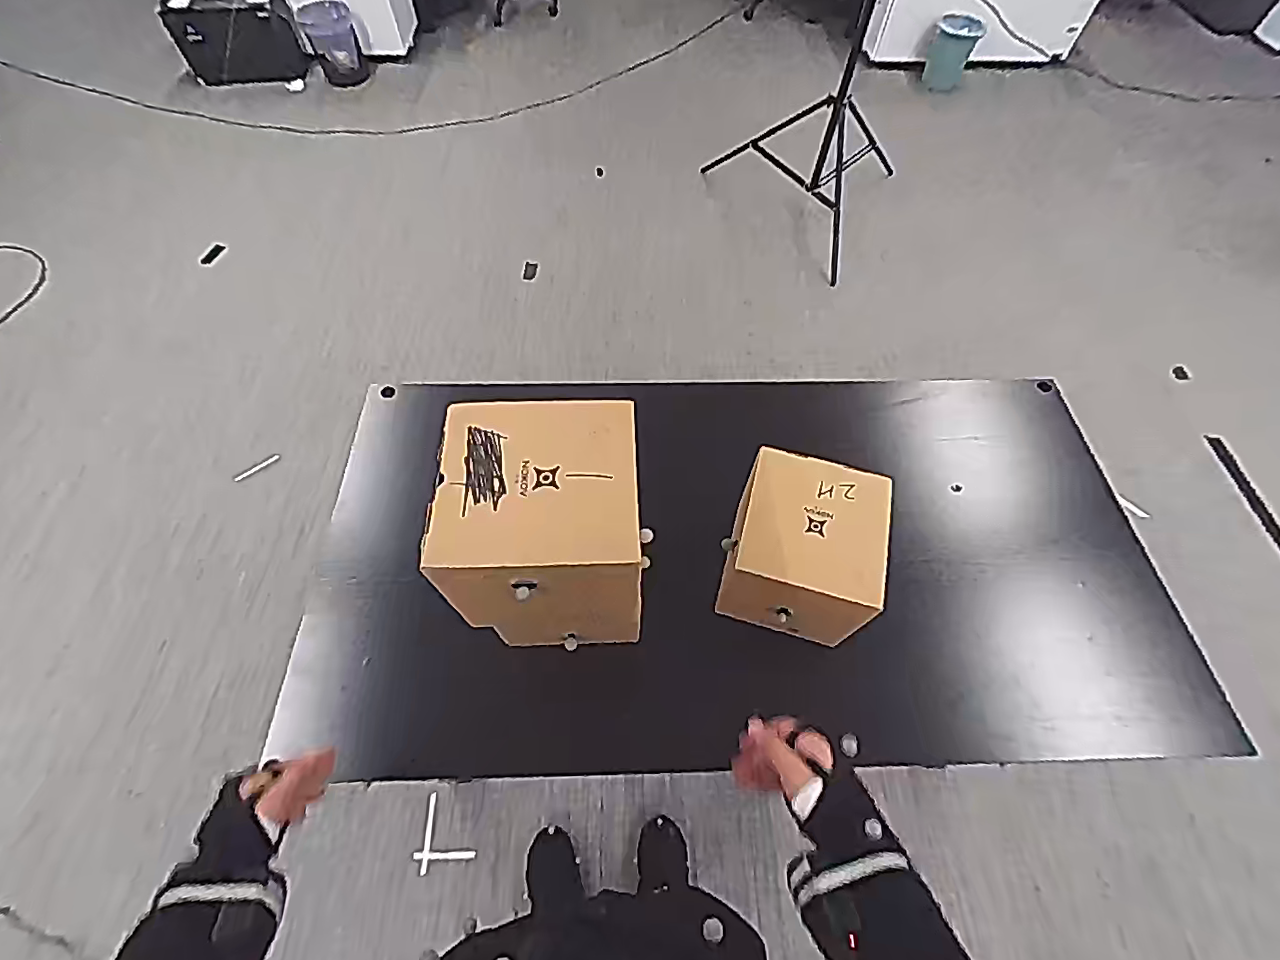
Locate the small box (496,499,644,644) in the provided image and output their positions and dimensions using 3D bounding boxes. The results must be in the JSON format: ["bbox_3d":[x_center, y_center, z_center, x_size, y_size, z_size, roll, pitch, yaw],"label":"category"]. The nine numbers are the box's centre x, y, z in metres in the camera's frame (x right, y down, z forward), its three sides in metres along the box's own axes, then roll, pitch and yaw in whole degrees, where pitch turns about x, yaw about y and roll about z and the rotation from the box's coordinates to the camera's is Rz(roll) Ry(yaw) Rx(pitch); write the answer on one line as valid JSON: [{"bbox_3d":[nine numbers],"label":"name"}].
[{"bbox_3d":[-0.089,0.110,0.699,0.179,0.176,0.168,-1,59,-3],"label":"small box"}]

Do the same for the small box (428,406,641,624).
[{"bbox_3d":[-0.089,0.042,0.547,0.179,0.176,0.168,-1,60,-2],"label":"small box"}]

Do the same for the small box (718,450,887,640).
[{"bbox_3d":[0.205,0.093,0.714,0.168,0.176,0.179,15,60,8],"label":"small box"}]
